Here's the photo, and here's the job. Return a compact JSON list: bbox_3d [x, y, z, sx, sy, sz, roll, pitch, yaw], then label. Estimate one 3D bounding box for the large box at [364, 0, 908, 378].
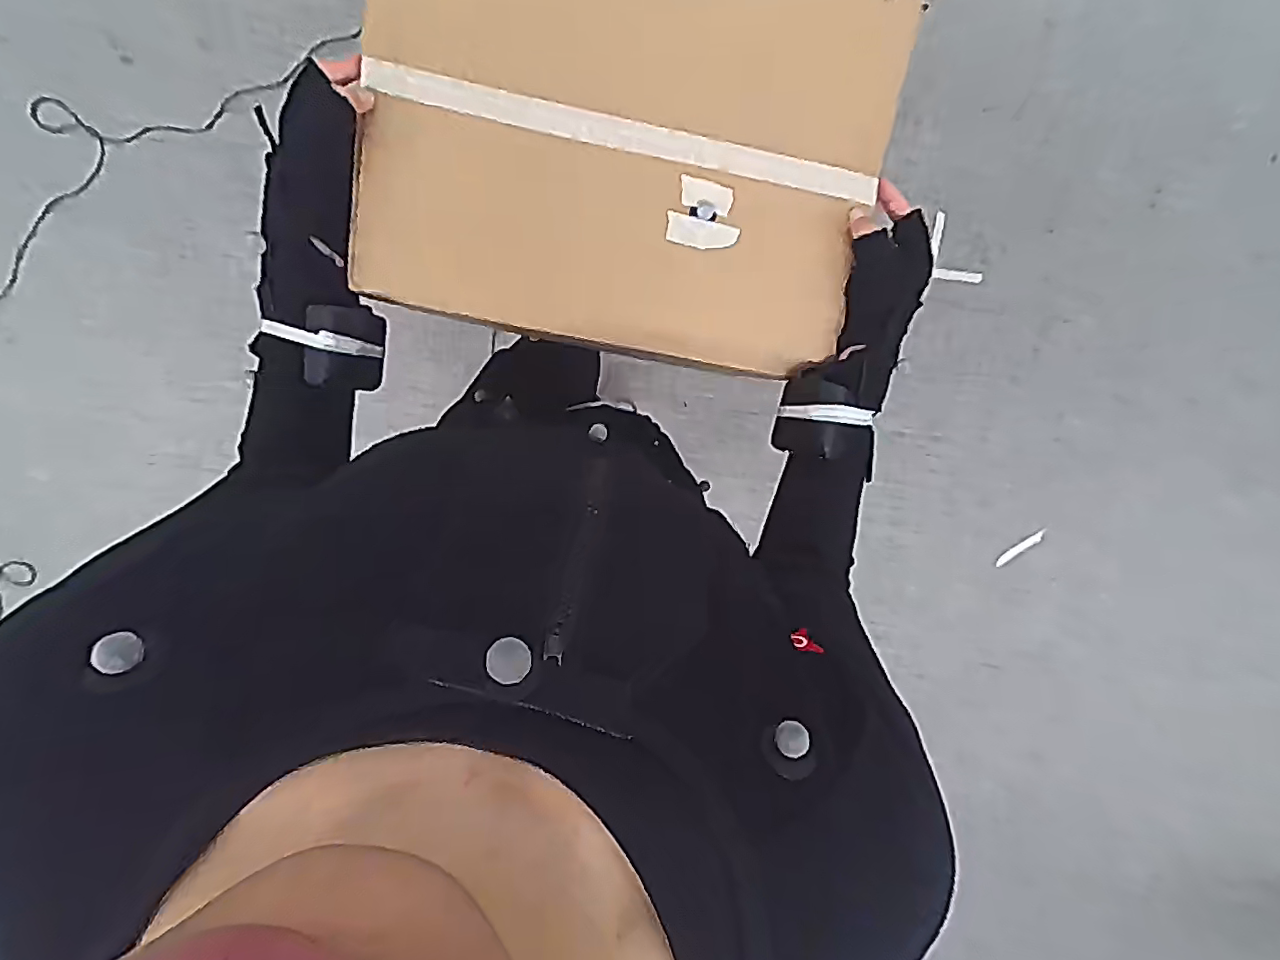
[{"bbox_3d":[-0.020,-0.298,0.577,0.408,0.320,0.320,9,102,-7],"label":"large box"}]
